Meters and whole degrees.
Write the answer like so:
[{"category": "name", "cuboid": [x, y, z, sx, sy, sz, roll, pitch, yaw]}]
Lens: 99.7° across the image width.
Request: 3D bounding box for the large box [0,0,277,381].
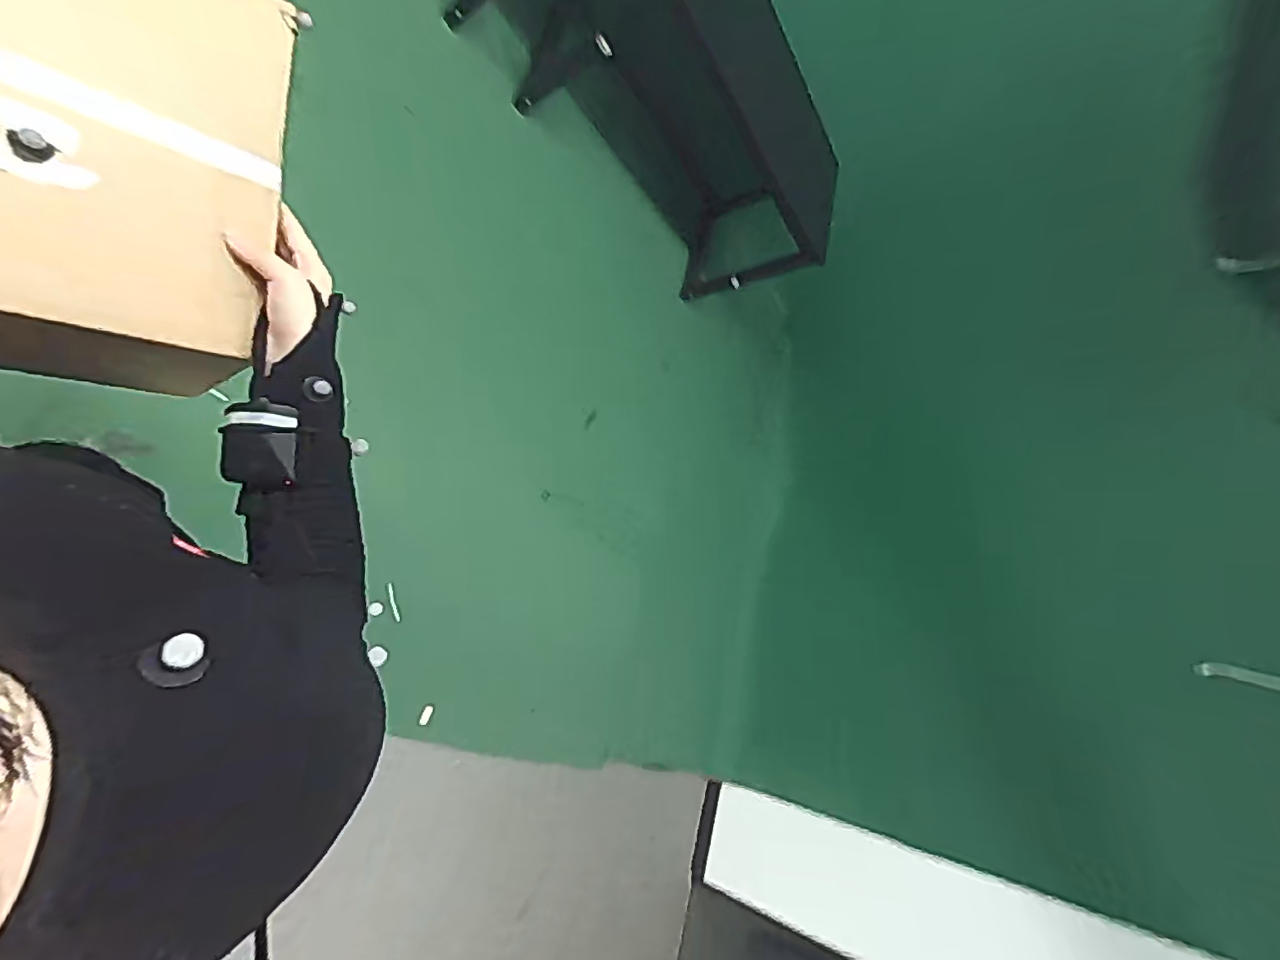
[{"category": "large box", "cuboid": [-0.564, -0.277, 0.413, 0.408, 0.320, 0.320, 5, 87, -48]}]
